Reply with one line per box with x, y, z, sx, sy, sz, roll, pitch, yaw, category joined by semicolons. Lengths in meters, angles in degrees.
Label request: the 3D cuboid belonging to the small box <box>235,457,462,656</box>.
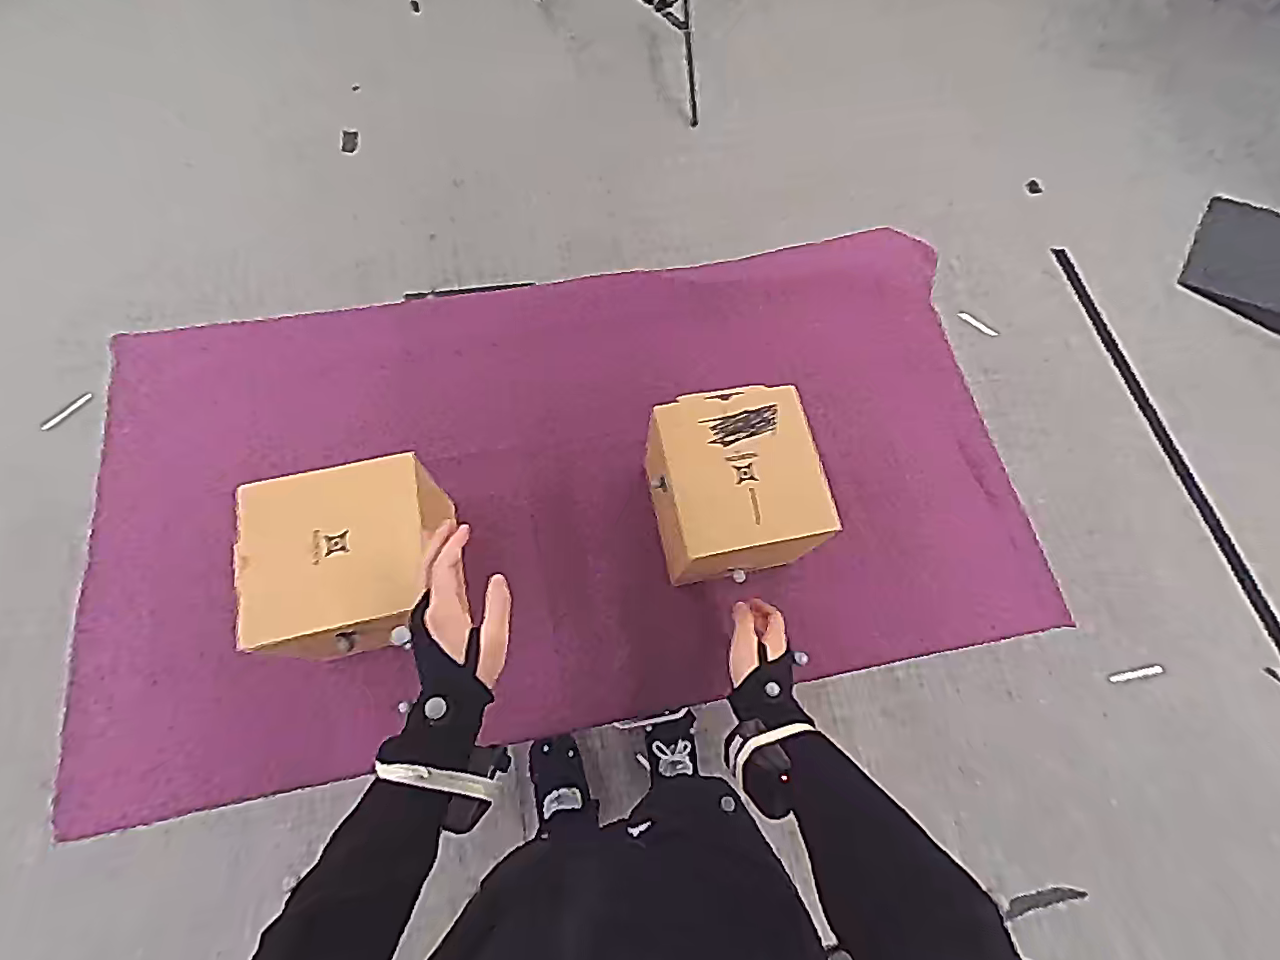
-0.309;0.093;0.607;0.179;0.176;0.168;-13;71;-7;small box

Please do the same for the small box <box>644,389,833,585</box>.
0.102;0.016;0.657;0.168;0.176;0.179;-11;71;-6;small box
